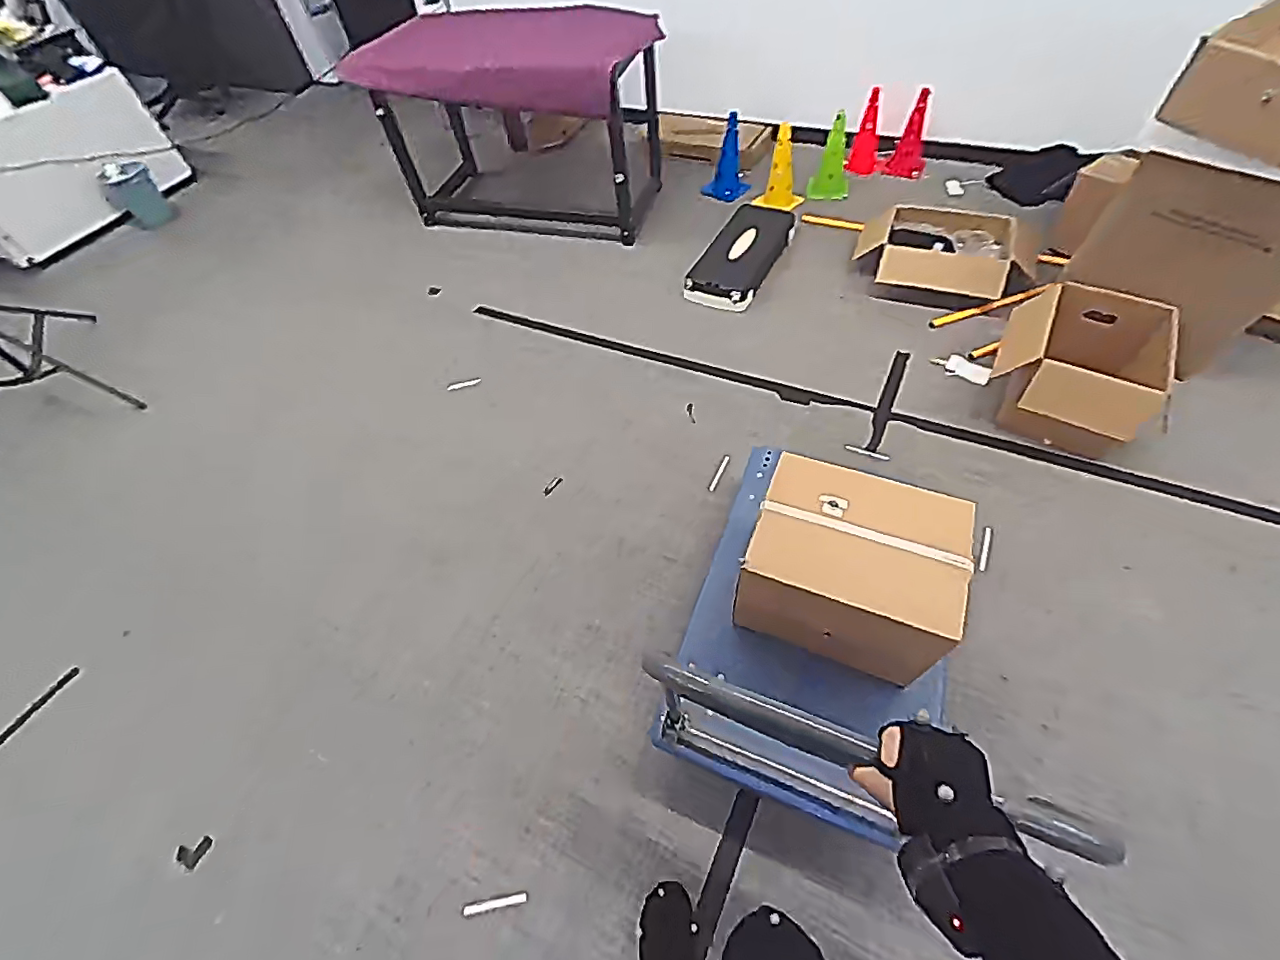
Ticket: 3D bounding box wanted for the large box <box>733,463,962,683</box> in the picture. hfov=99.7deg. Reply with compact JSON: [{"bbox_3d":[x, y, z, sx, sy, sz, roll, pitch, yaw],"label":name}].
[{"bbox_3d":[0.453,0.212,1.230,0.408,0.320,0.320,16,57,18],"label":"large box"}]
